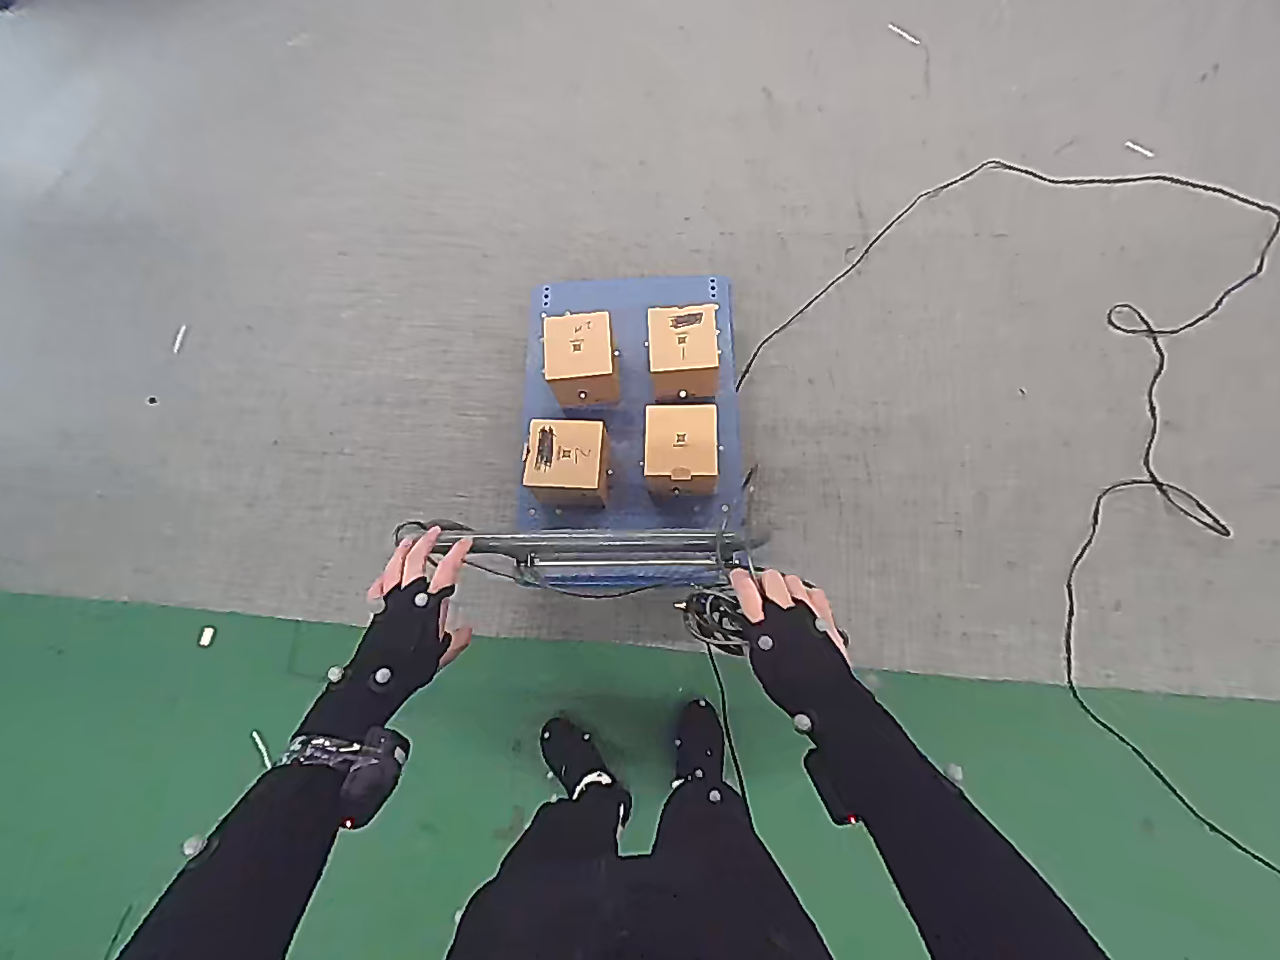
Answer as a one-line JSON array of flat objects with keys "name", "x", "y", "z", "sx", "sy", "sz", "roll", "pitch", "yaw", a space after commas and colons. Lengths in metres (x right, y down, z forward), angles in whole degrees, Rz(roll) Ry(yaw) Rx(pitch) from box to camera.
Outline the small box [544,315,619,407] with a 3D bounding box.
[{"name": "small box", "x": -0.148, "y": -0.299, "z": 1.400, "sx": 0.168, "sy": 0.176, "sz": 0.179, "roll": -5, "pitch": 73, "yaw": 3}]

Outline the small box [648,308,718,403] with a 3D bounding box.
[{"name": "small box", "x": 0.108, "y": -0.314, "z": 1.381, "sx": 0.168, "sy": 0.176, "sz": 0.179, "roll": -3, "pitch": 74, "yaw": 5}]

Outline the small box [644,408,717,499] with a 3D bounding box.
[{"name": "small box", "x": 0.099, "y": -0.061, "z": 1.308, "sx": 0.168, "sy": 0.176, "sz": 0.179, "roll": 0, "pitch": 73, "yaw": 5}]
